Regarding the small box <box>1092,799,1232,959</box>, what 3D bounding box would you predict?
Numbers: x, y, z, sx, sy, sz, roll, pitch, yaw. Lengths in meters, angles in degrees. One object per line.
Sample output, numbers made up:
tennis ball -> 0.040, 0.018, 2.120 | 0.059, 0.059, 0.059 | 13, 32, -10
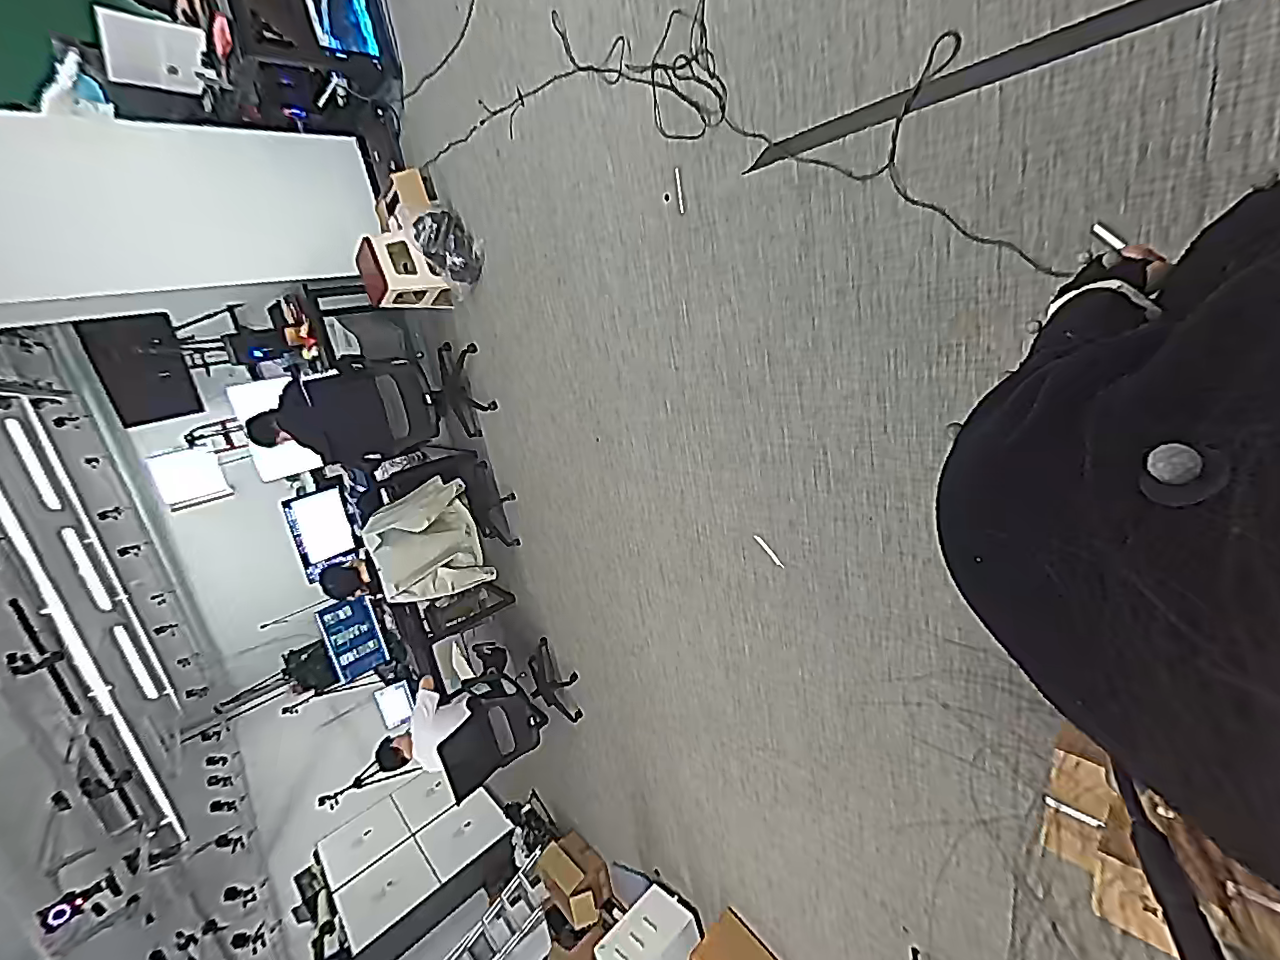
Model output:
small box -> 1.016, 0.772, 1.054 | 0.179, 0.176, 0.168 | 9, 113, 49
